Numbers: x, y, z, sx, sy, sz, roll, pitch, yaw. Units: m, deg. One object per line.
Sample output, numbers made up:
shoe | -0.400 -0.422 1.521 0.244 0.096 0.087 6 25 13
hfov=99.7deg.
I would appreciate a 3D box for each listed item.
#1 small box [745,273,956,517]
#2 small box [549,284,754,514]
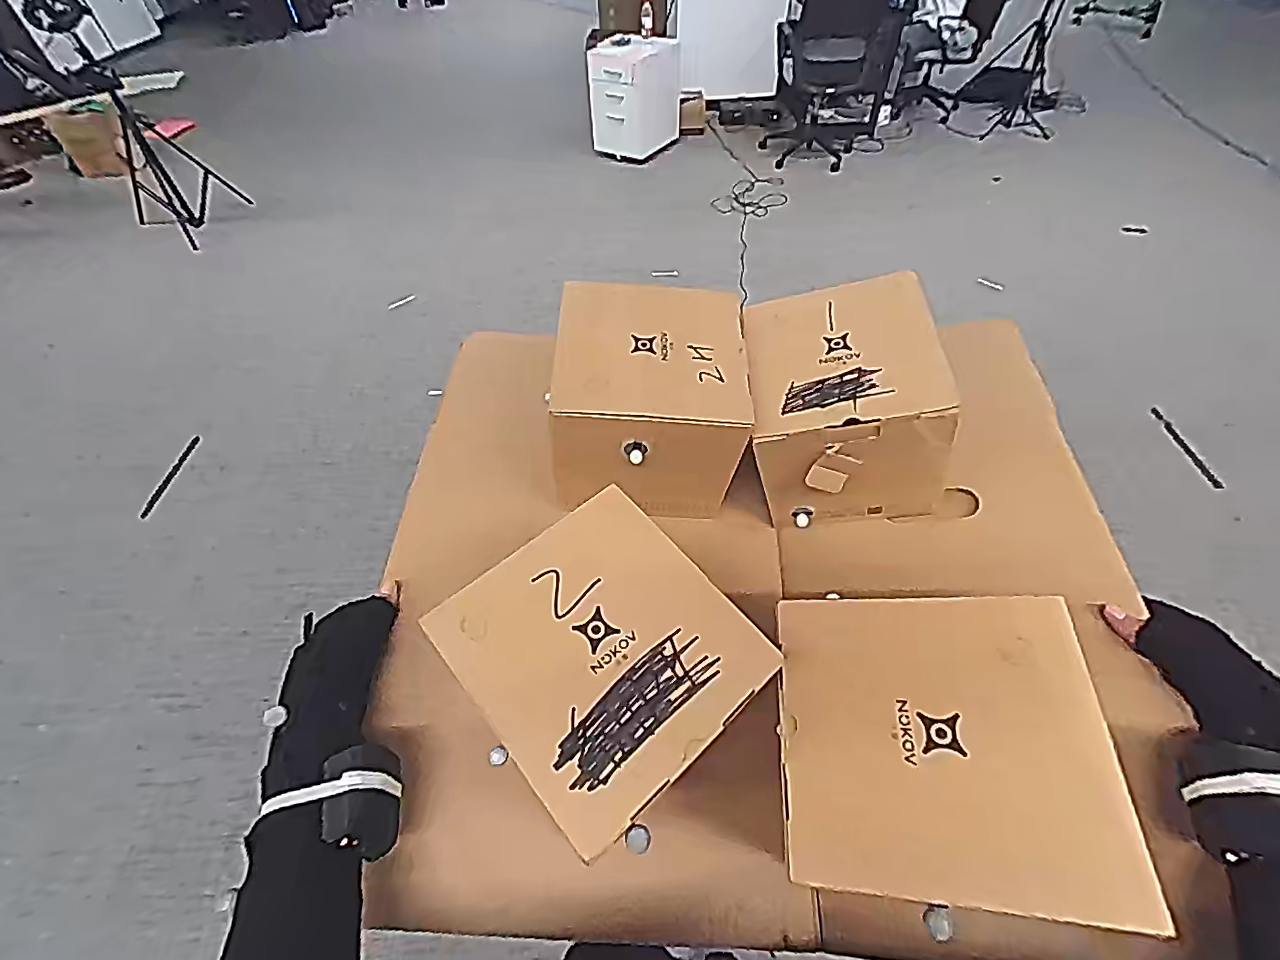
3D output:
small box | 0.206 -0.072 0.555 0.168 0.176 0.179 -8 55 17
small box | 0.006 -0.075 0.559 0.179 0.176 0.168 4 58 -4
